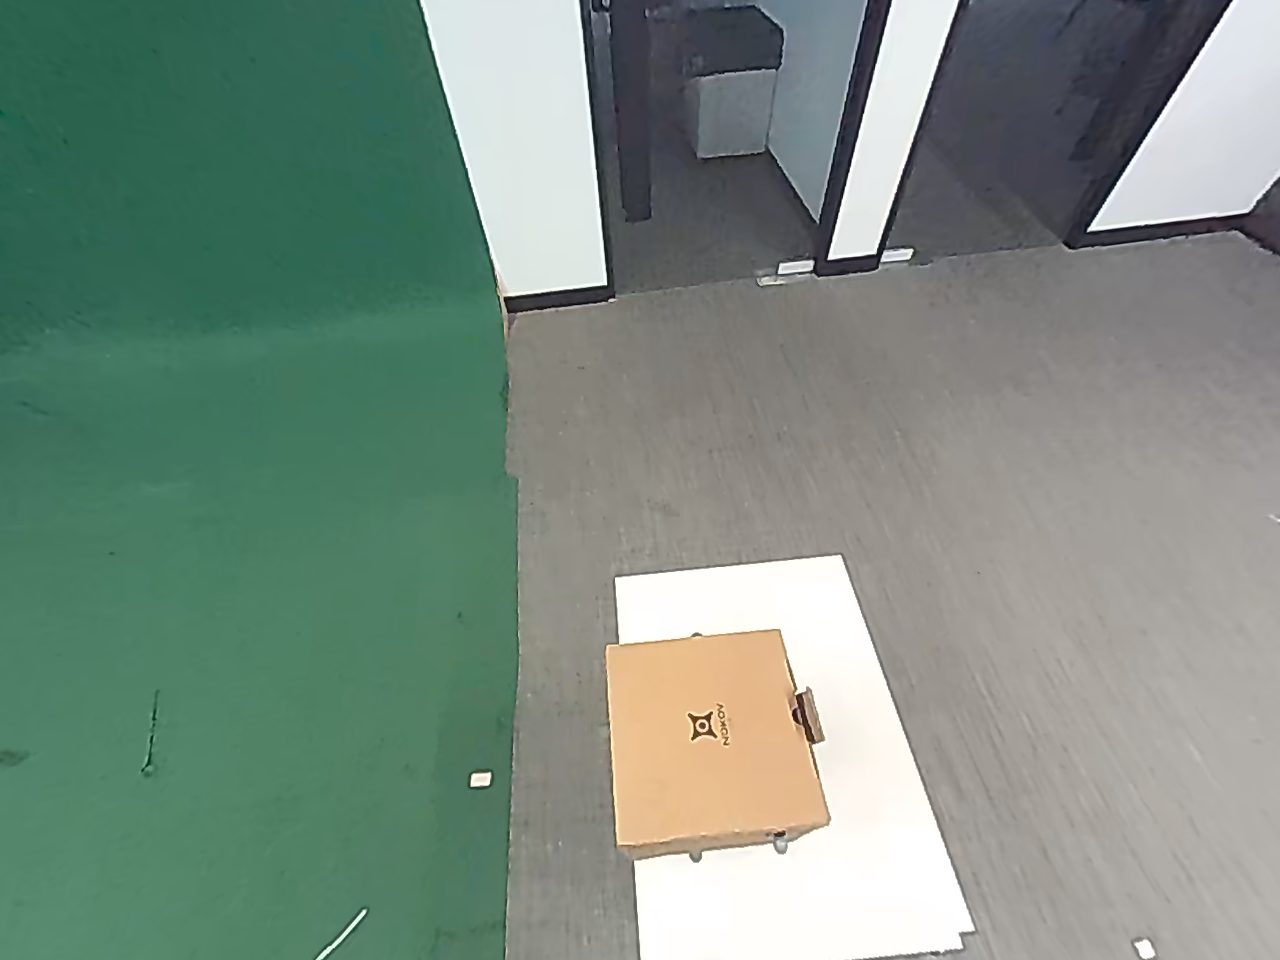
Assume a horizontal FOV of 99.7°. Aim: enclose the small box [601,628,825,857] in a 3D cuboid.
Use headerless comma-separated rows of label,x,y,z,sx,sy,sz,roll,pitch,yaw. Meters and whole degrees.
small box,0.059,0.266,0.540,0.179,0.176,0.168,-5,53,-3
